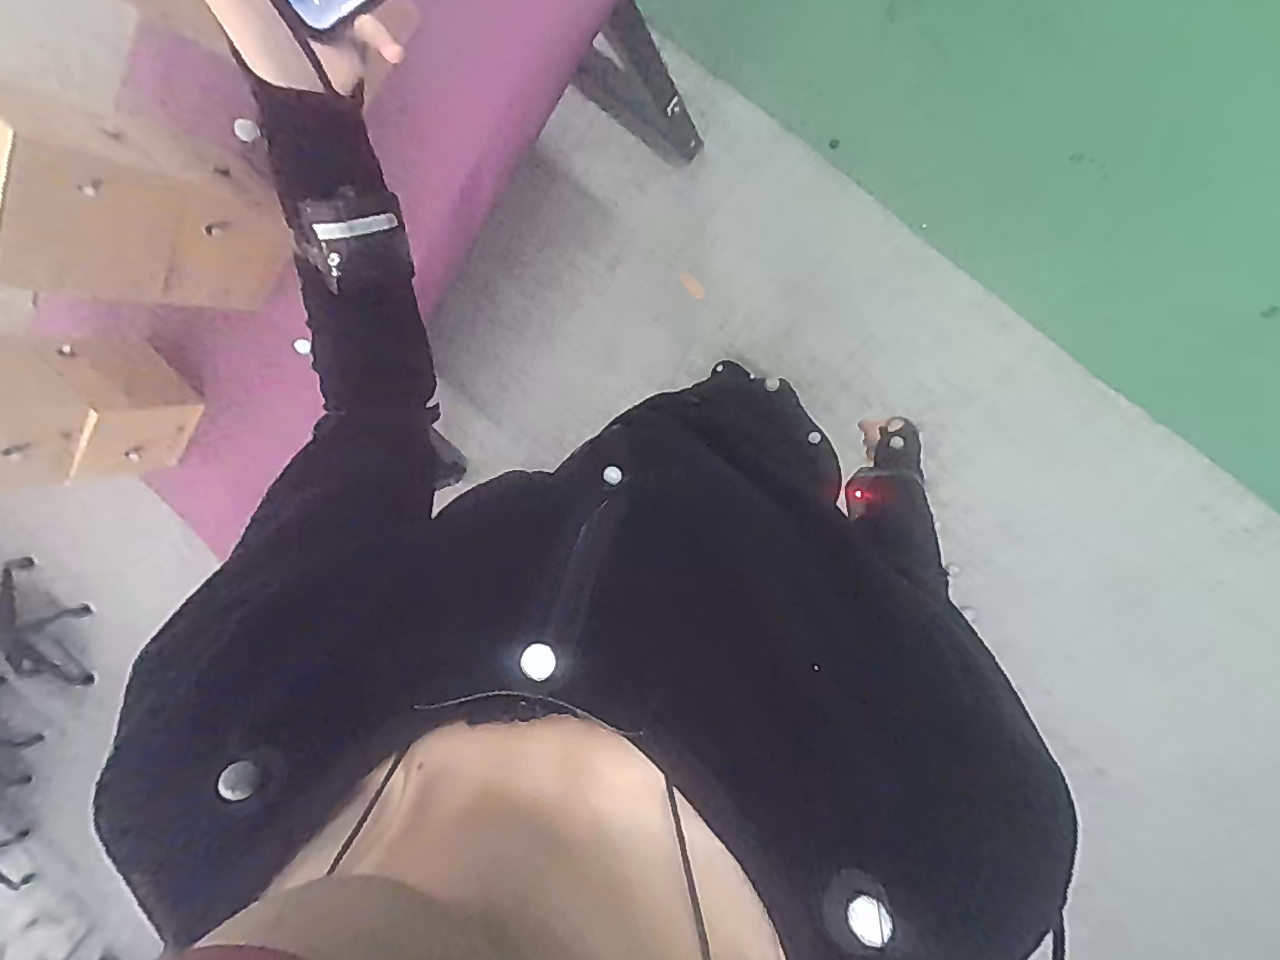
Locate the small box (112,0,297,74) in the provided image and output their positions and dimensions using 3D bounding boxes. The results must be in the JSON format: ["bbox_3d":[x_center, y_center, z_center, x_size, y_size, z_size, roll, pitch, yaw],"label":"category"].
[{"bbox_3d":[-0.457,-0.555,0.521,0.179,0.176,0.168,-42,87,19],"label":"small box"}]

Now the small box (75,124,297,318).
[{"bbox_3d":[-0.651,-0.362,0.793,0.168,0.176,0.179,43,110,4],"label":"small box"}]

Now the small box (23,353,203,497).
[{"bbox_3d":[-0.910,-0.102,0.929,0.179,0.176,0.168,44,110,4],"label":"small box"}]
